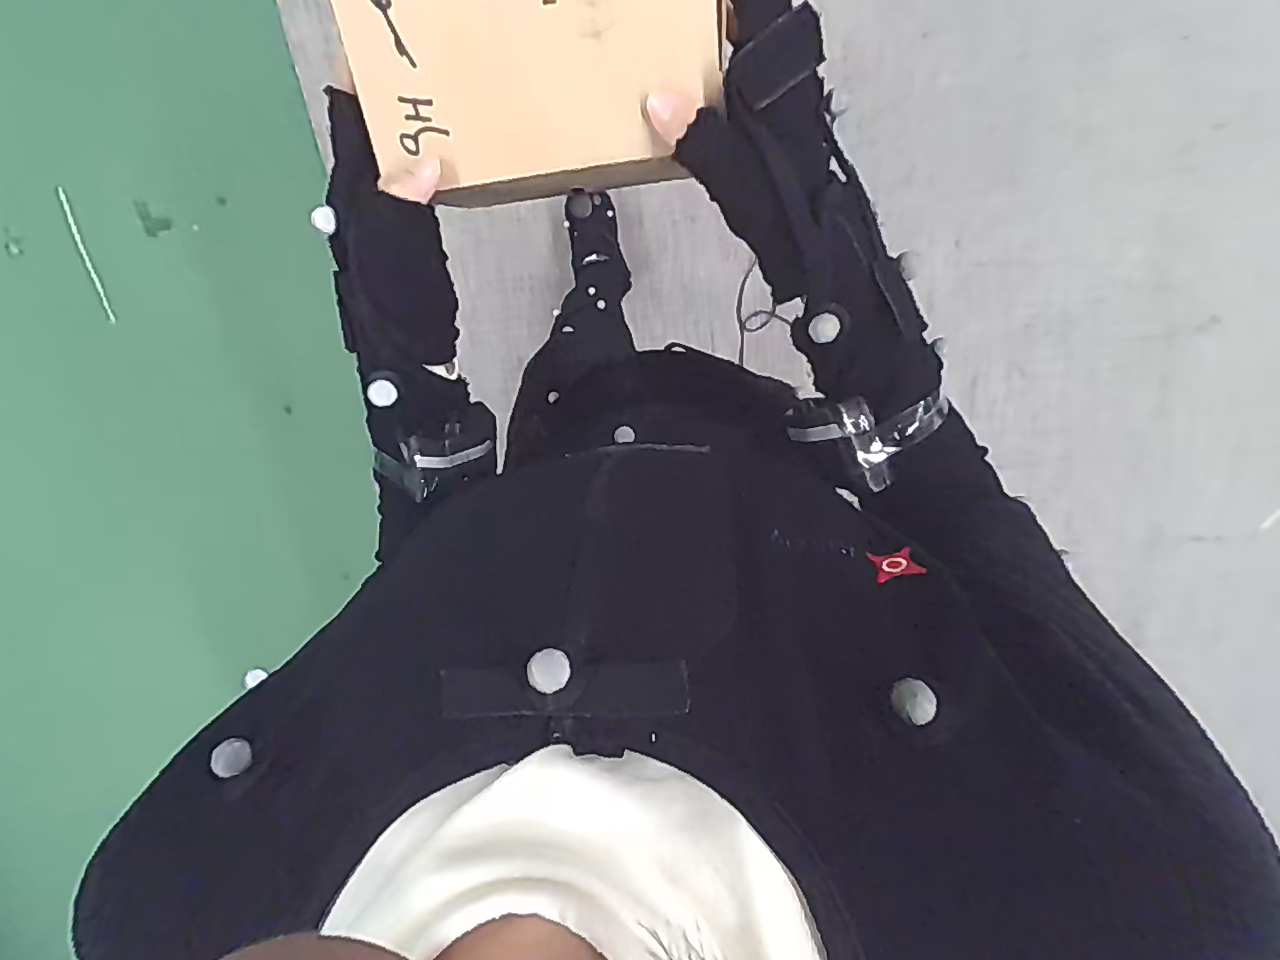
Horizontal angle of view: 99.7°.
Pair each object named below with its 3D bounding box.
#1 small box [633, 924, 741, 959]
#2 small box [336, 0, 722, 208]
[{"bbox_3d":[0.076,0.846,0.856,0.179,0.176,0.168,-4,110,6],"label":"small box"},{"bbox_3d":[-0.055,-0.263,0.316,0.179,0.176,0.168,-7,113,2],"label":"small box"}]
